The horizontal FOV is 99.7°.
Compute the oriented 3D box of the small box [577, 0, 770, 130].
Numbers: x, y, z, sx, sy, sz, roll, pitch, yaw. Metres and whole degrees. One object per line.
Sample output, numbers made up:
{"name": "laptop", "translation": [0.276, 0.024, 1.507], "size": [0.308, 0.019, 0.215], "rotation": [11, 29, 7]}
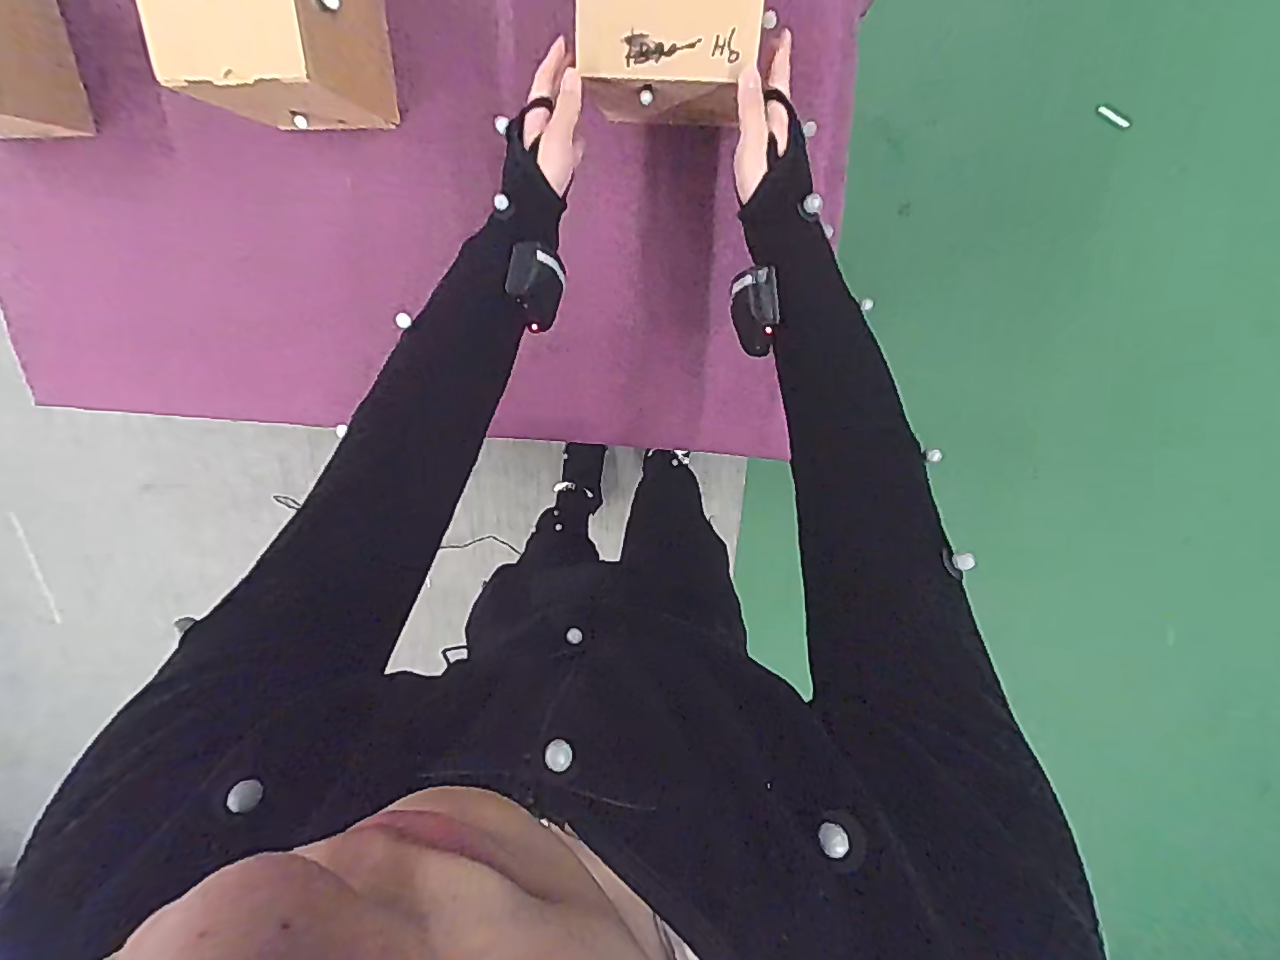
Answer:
{"name": "small box", "translation": [0.040, -0.467, 0.525], "size": [0.168, 0.176, 0.179], "rotation": [7, 112, 5]}

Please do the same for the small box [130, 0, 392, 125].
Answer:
{"name": "small box", "translation": [-0.387, -0.497, 0.567], "size": [0.168, 0.176, 0.179], "rotation": [3, 111, 5]}
